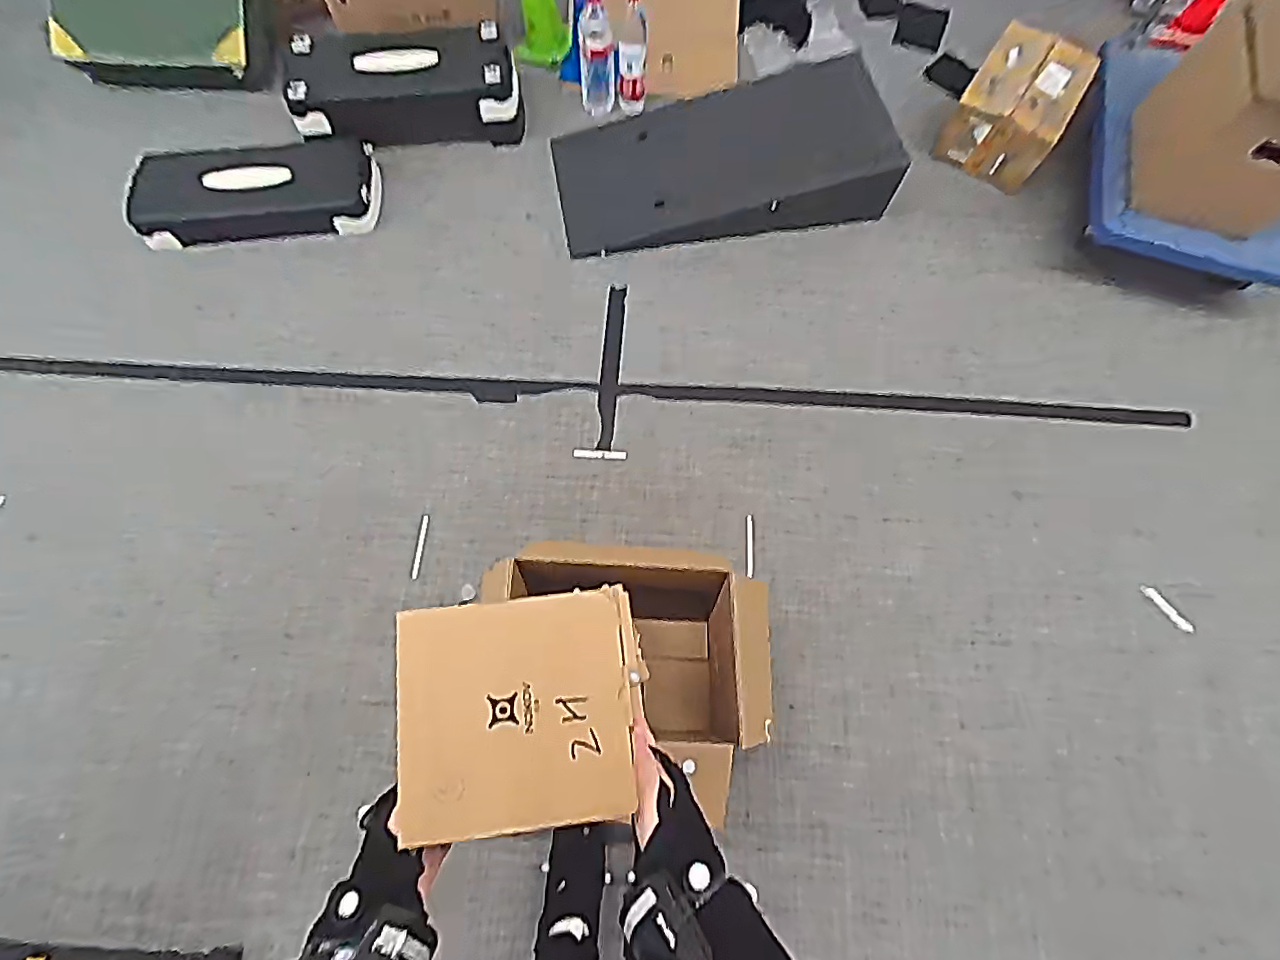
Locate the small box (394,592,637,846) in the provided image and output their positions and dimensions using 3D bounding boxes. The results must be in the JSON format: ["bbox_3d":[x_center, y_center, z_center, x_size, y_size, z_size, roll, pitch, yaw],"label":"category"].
[{"bbox_3d":[-0.099,0.194,0.483,0.179,0.176,0.168,-5,77,-6],"label":"small box"}]

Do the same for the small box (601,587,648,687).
[{"bbox_3d":[-0.097,0.309,0.988,0.179,0.176,0.168,-15,75,-10],"label":"small box"}]
